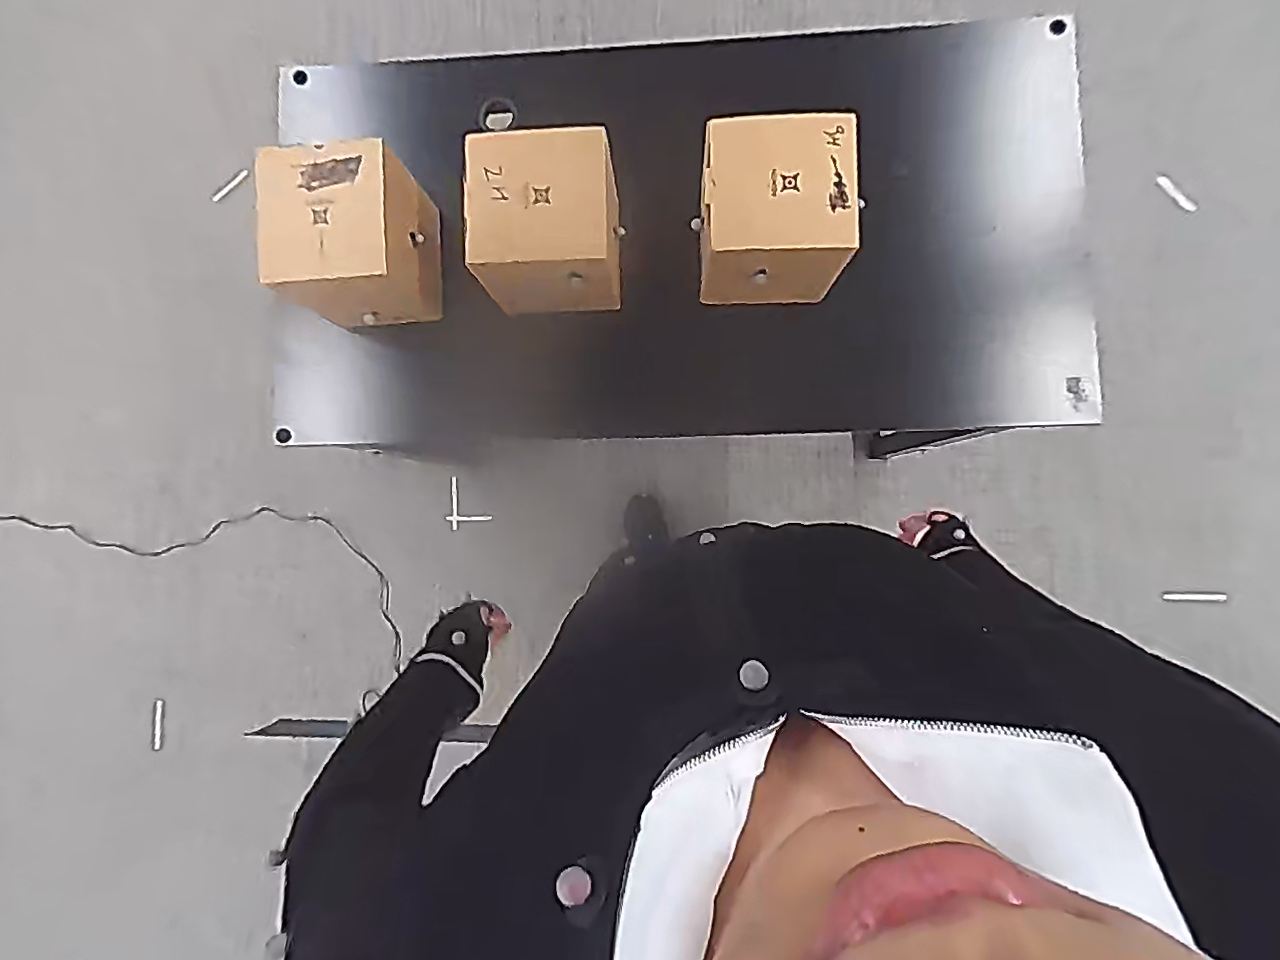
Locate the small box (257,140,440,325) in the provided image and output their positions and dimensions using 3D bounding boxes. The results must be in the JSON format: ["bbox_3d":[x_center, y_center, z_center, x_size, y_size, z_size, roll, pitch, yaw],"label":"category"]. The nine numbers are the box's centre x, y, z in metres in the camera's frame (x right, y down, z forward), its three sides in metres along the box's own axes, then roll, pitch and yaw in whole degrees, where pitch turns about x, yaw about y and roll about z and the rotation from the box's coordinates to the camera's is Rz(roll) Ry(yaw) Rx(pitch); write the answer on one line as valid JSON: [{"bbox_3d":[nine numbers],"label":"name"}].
[{"bbox_3d":[-0.393,-0.331,0.752,0.168,0.176,0.179,-3,88,3],"label":"small box"}]

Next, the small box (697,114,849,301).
[{"bbox_3d":[0.166,-0.349,0.723,0.179,0.176,0.168,0,87,4],"label":"small box"}]

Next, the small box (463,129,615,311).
[{"bbox_3d":[-0.126,-0.341,0.738,0.179,0.176,0.168,-1,87,4],"label":"small box"}]
